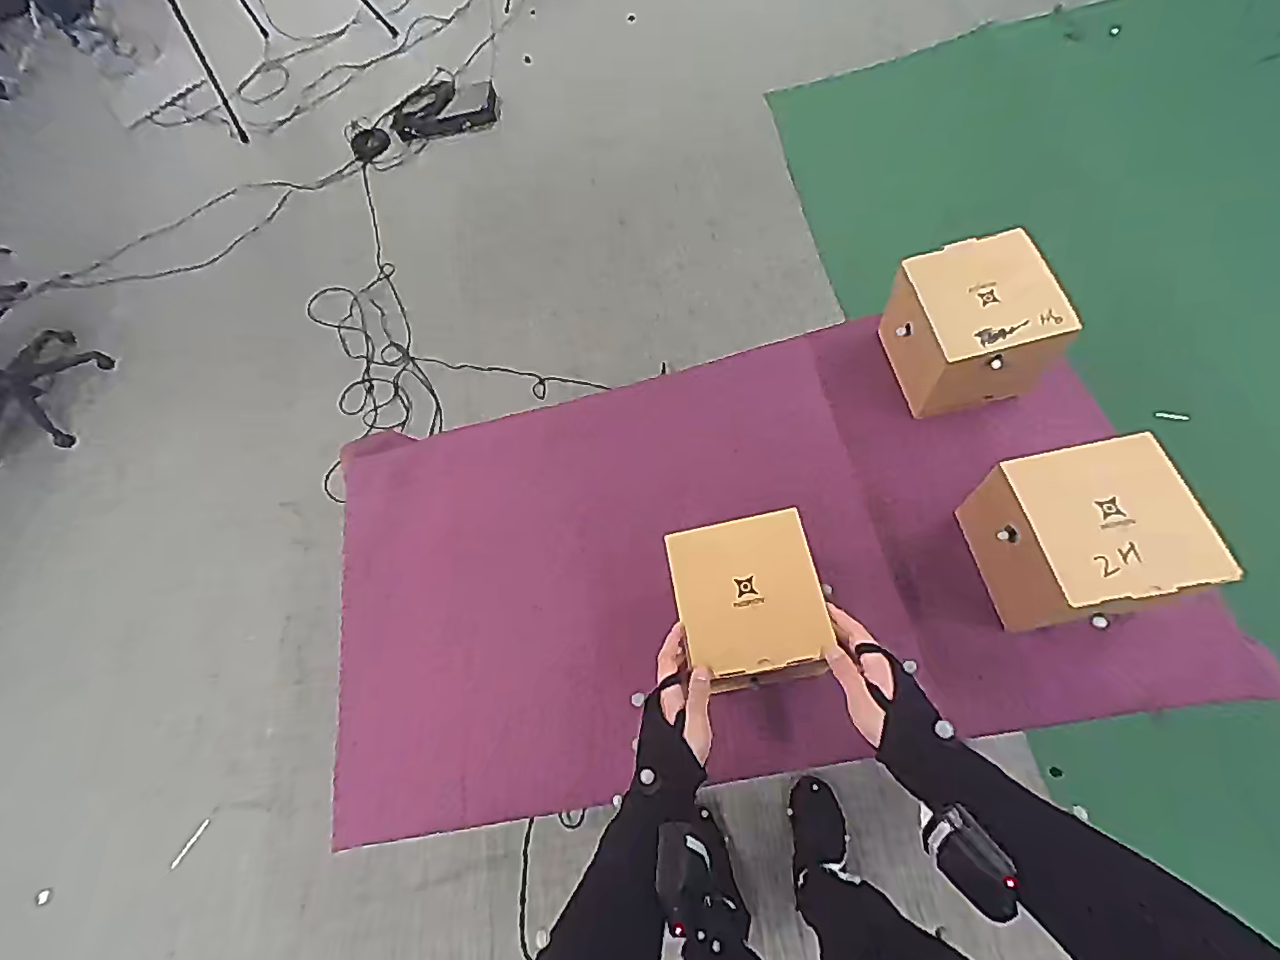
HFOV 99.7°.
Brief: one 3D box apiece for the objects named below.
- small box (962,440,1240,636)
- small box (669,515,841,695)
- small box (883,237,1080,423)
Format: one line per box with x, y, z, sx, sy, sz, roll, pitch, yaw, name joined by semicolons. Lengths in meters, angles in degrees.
0.527;0.078;0.657;0.168;0.176;0.179;-12;64;8;small box
0.138;0.167;0.692;0.168;0.176;0.179;-13;64;6;small box
0.476;-0.210;0.791;0.168;0.176;0.179;-14;67;8;small box
